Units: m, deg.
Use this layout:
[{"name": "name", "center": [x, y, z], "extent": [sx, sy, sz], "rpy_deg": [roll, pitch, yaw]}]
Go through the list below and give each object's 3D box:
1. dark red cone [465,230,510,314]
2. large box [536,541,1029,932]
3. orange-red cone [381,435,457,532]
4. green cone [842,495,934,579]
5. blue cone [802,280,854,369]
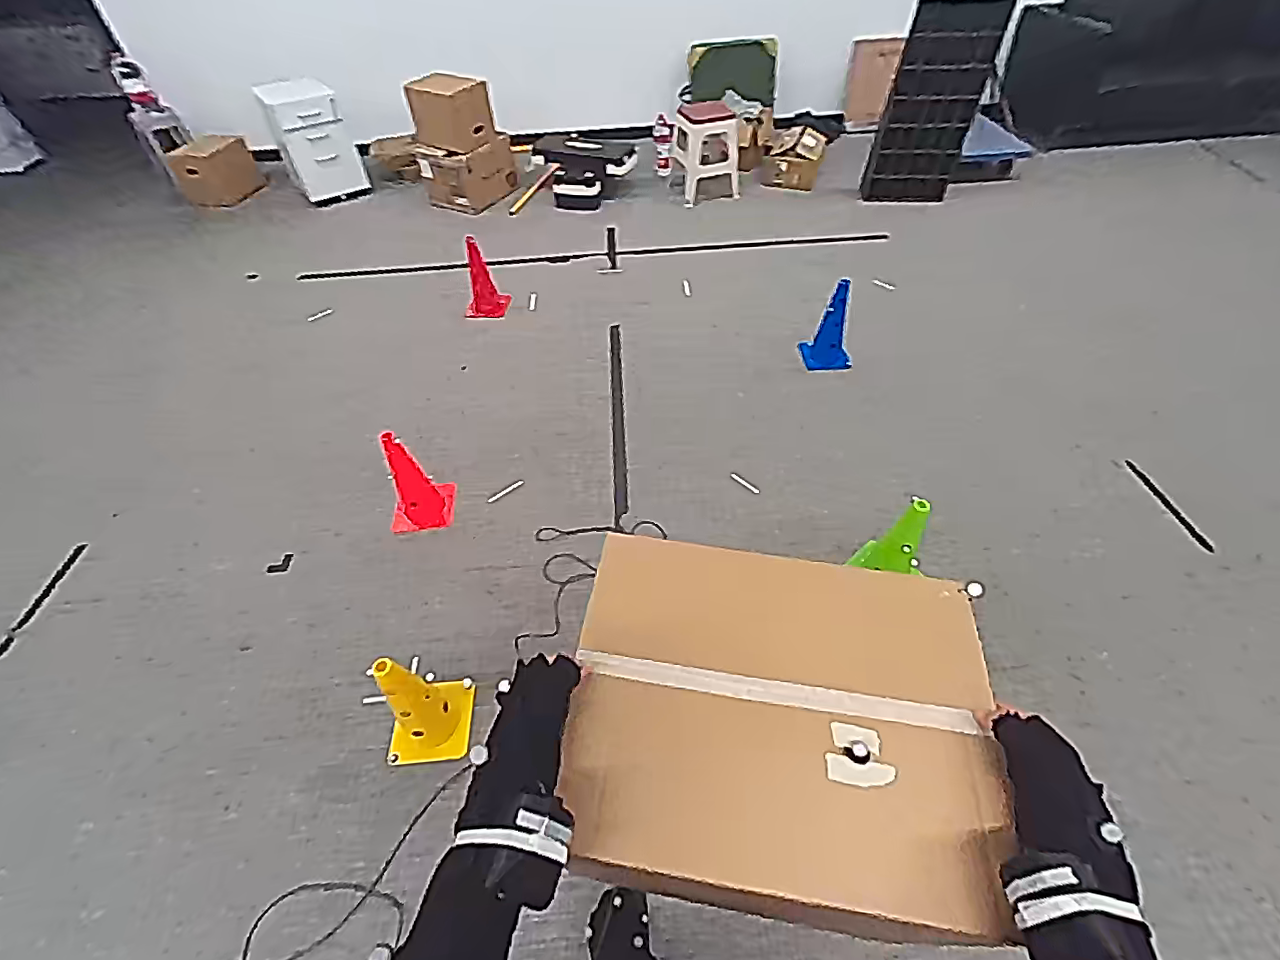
[{"name": "dark red cone", "center": [-0.774, -1.006, 2.619], "extent": [0.201, 0.394, 0.202], "rpy_deg": [1, 49, 2]}, {"name": "large box", "center": [0.124, 0.303, 0.640], "extent": [0.408, 0.320, 0.320], "rpy_deg": [7, 51, 5]}, {"name": "orange-red cone", "center": [-0.761, -0.012, 1.780], "extent": [0.198, 0.360, 0.199], "rpy_deg": [-7, 50, -2]}, {"name": "green cone", "center": [0.745, 0.177, 1.534], "extent": [0.202, 0.368, 0.200], "rpy_deg": [-34, 56, -26]}, {"name": "blue cone", "center": [0.827, -0.664, 2.287], "extent": [0.192, 0.380, 0.193], "rpy_deg": [-1, 49, 1]}]
